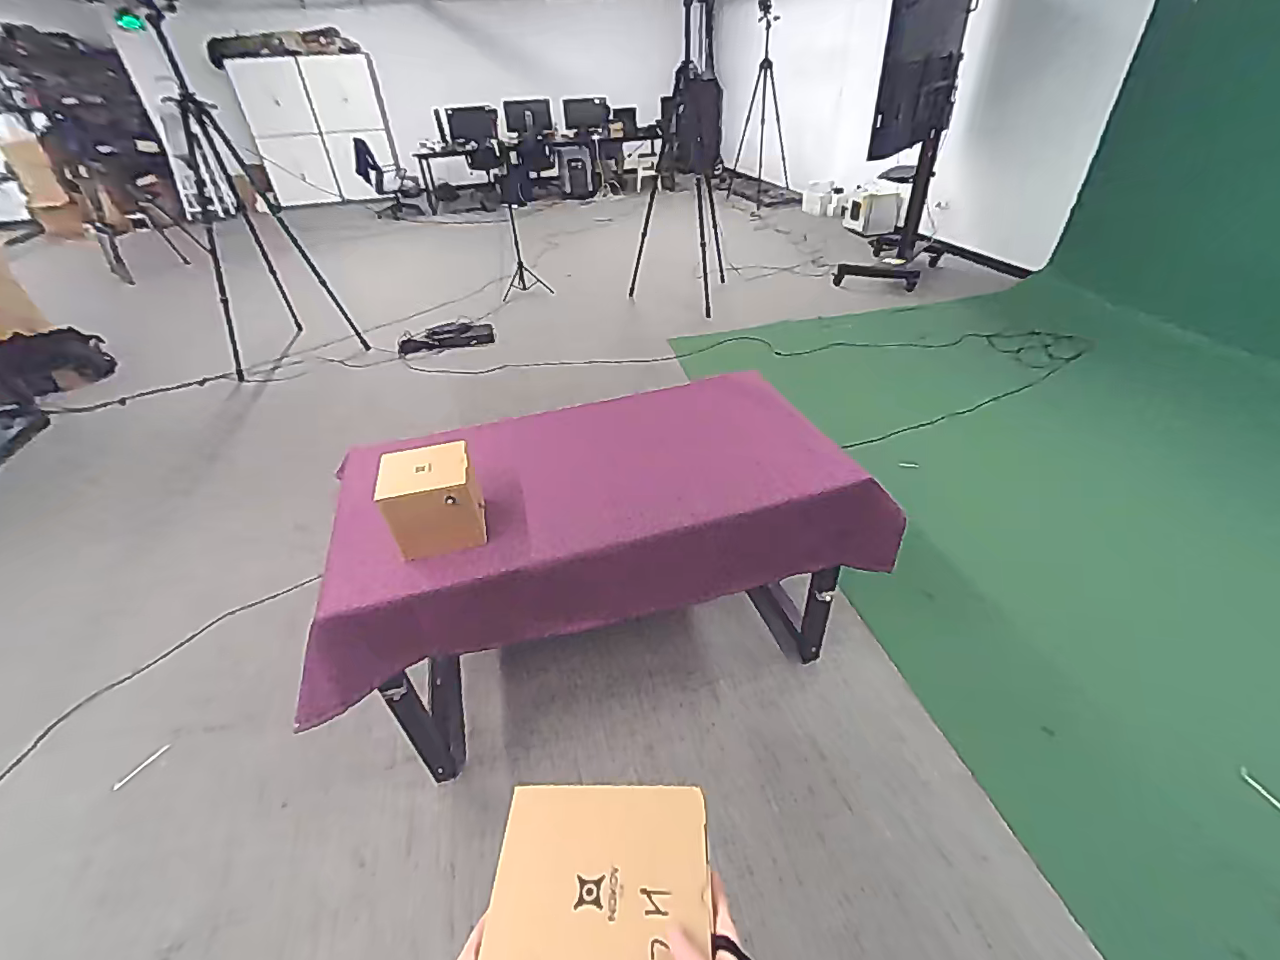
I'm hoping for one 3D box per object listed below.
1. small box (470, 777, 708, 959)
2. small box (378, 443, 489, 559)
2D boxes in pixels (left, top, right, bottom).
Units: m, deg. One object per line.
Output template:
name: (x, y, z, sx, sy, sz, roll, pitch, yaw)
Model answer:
small box: (-0.030, 0.388, 0.477, 0.179, 0.176, 0.168, -1, 36, 5)
small box: (-0.432, 0.047, 1.154, 0.179, 0.176, 0.168, -12, 38, -11)
